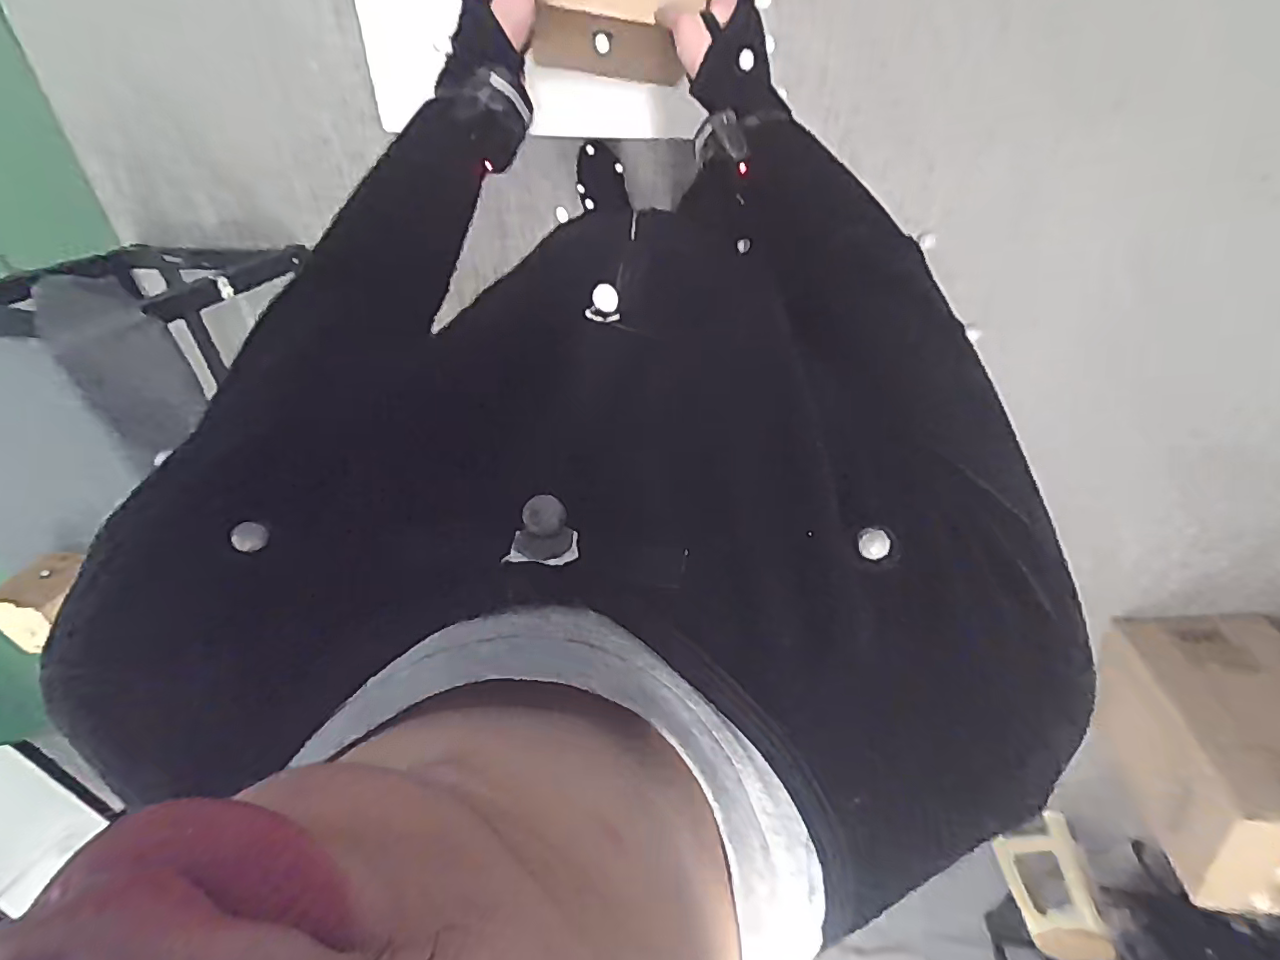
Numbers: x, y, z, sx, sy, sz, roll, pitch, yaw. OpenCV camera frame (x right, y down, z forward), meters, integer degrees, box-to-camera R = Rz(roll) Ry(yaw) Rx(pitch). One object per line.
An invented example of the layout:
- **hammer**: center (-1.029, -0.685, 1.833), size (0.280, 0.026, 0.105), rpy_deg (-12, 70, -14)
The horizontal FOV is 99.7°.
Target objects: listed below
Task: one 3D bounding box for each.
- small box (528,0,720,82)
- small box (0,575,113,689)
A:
- **small box**: center (-0.020, -0.522, 0.529), size (0.179, 0.176, 0.168), rpy_deg (1, 110, -11)
- **small box**: center (-1.349, 0.330, 1.194), size (0.168, 0.176, 0.179), rpy_deg (5, 125, 5)
